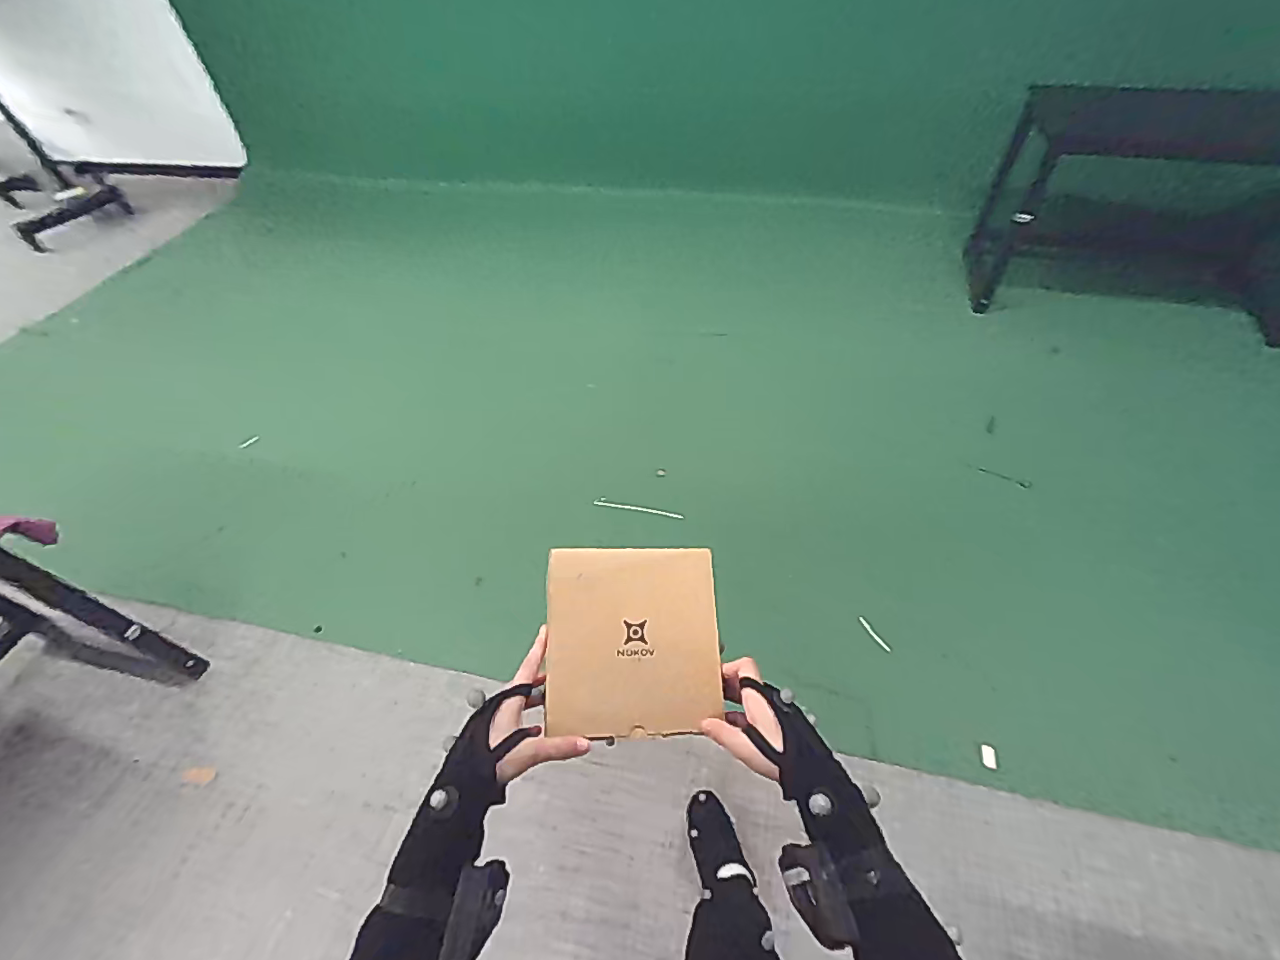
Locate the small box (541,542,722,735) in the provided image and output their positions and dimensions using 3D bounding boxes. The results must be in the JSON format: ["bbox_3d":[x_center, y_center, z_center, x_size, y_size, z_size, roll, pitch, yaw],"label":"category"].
[{"bbox_3d":[-0.022,0.175,0.585,0.168,0.176,0.179,1,68,-10],"label":"small box"}]
